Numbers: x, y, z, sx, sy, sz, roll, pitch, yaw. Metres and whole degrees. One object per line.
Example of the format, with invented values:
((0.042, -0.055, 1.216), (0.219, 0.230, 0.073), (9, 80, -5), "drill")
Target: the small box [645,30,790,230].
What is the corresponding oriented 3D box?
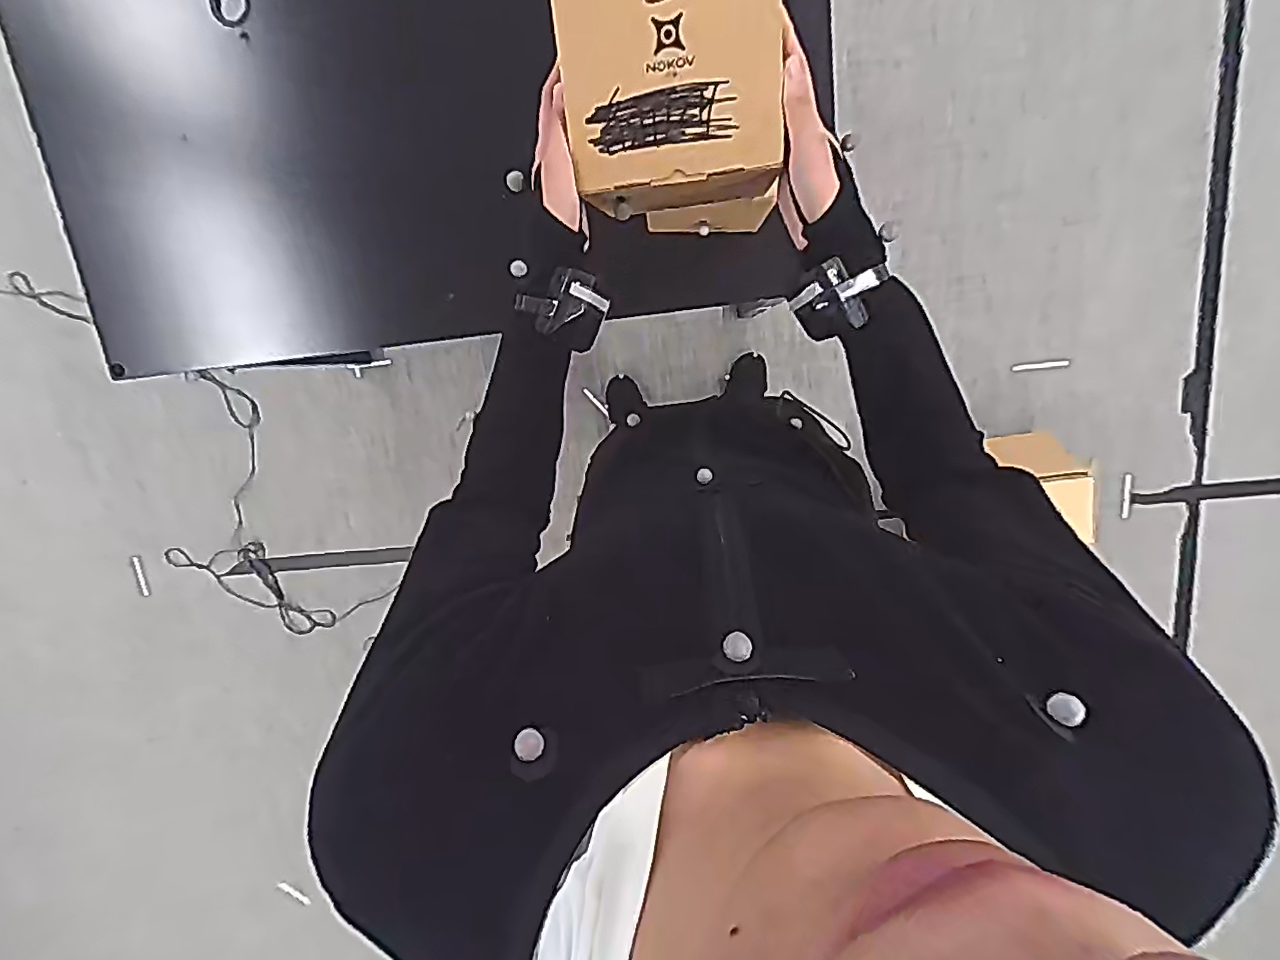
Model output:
((0.093, -0.446, 0.715), (0.168, 0.176, 0.179), (2, 102, 3), "small box")
